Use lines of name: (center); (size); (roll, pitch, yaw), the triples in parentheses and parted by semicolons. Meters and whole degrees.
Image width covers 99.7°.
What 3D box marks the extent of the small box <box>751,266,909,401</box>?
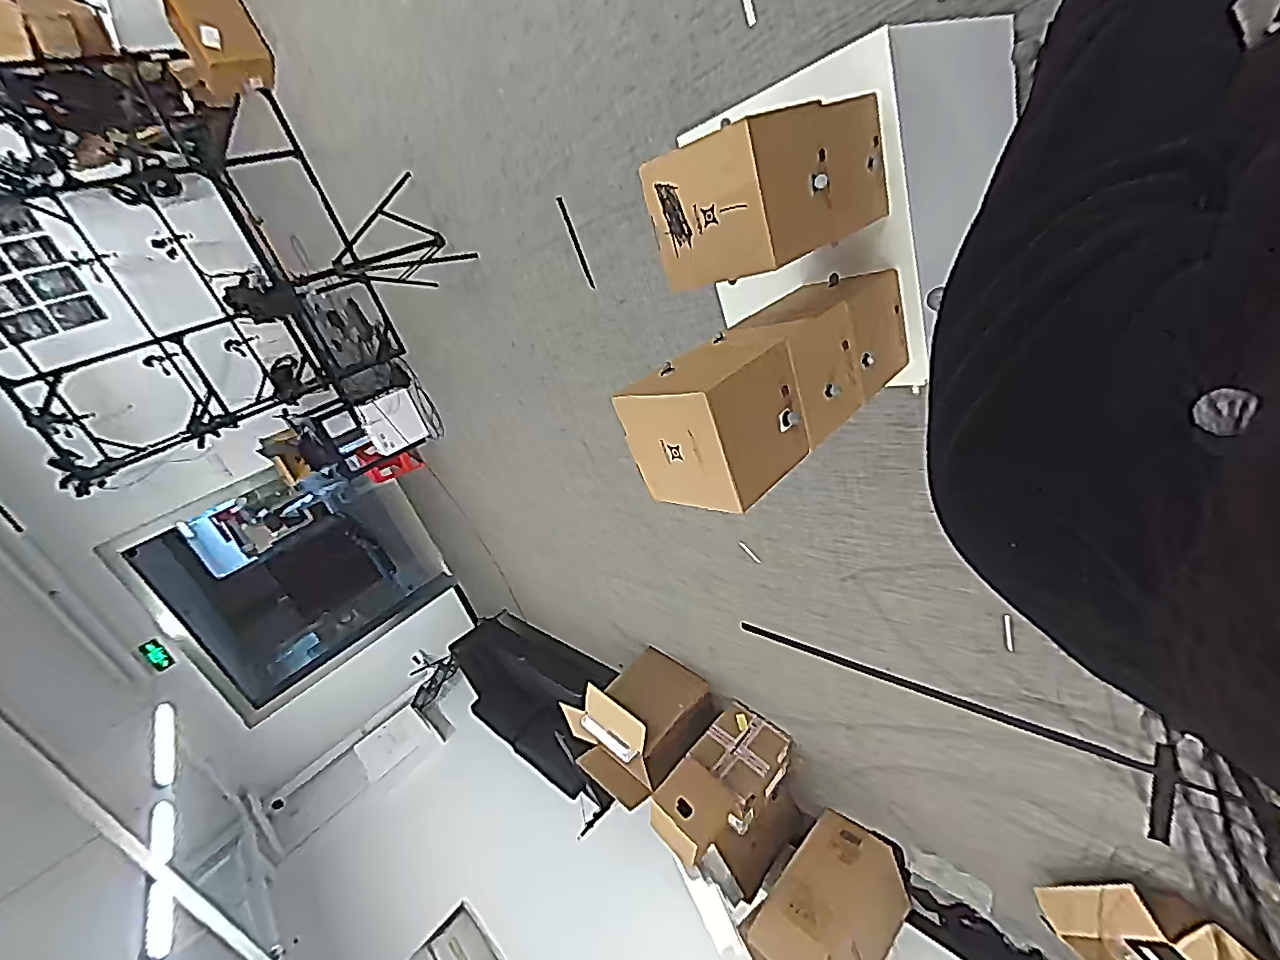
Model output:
small box: (0.320, -0.241, 0.906); (0.179, 0.176, 0.168); (10, 127, 49)

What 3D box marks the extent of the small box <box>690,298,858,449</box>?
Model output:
small box: (0.209, -0.160, 0.817); (0.179, 0.176, 0.168); (8, 126, 50)

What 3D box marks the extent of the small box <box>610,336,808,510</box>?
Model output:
small box: (0.096, -0.081, 0.732); (0.179, 0.176, 0.168); (6, 126, 49)

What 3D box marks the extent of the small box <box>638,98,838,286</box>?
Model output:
small box: (0.132, -0.372, 0.712); (0.179, 0.176, 0.168); (10, 129, 47)
